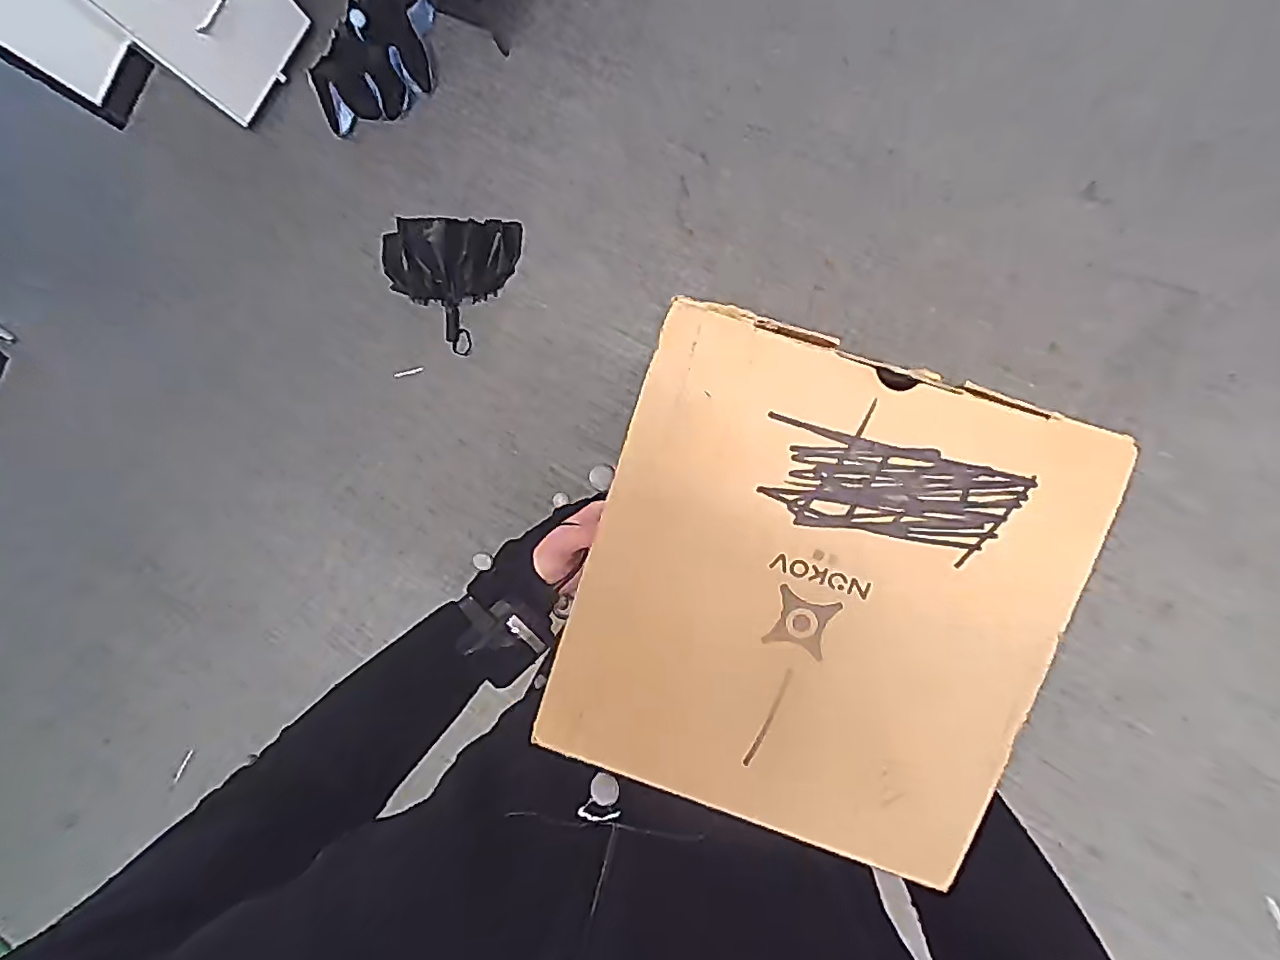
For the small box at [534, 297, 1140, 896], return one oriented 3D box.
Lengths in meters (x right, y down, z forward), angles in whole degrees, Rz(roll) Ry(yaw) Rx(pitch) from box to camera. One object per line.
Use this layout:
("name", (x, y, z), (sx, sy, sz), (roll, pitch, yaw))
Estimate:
("small box", (0.068, 0.036, 0.268), (0.168, 0.176, 0.179), (18, 97, 4))
